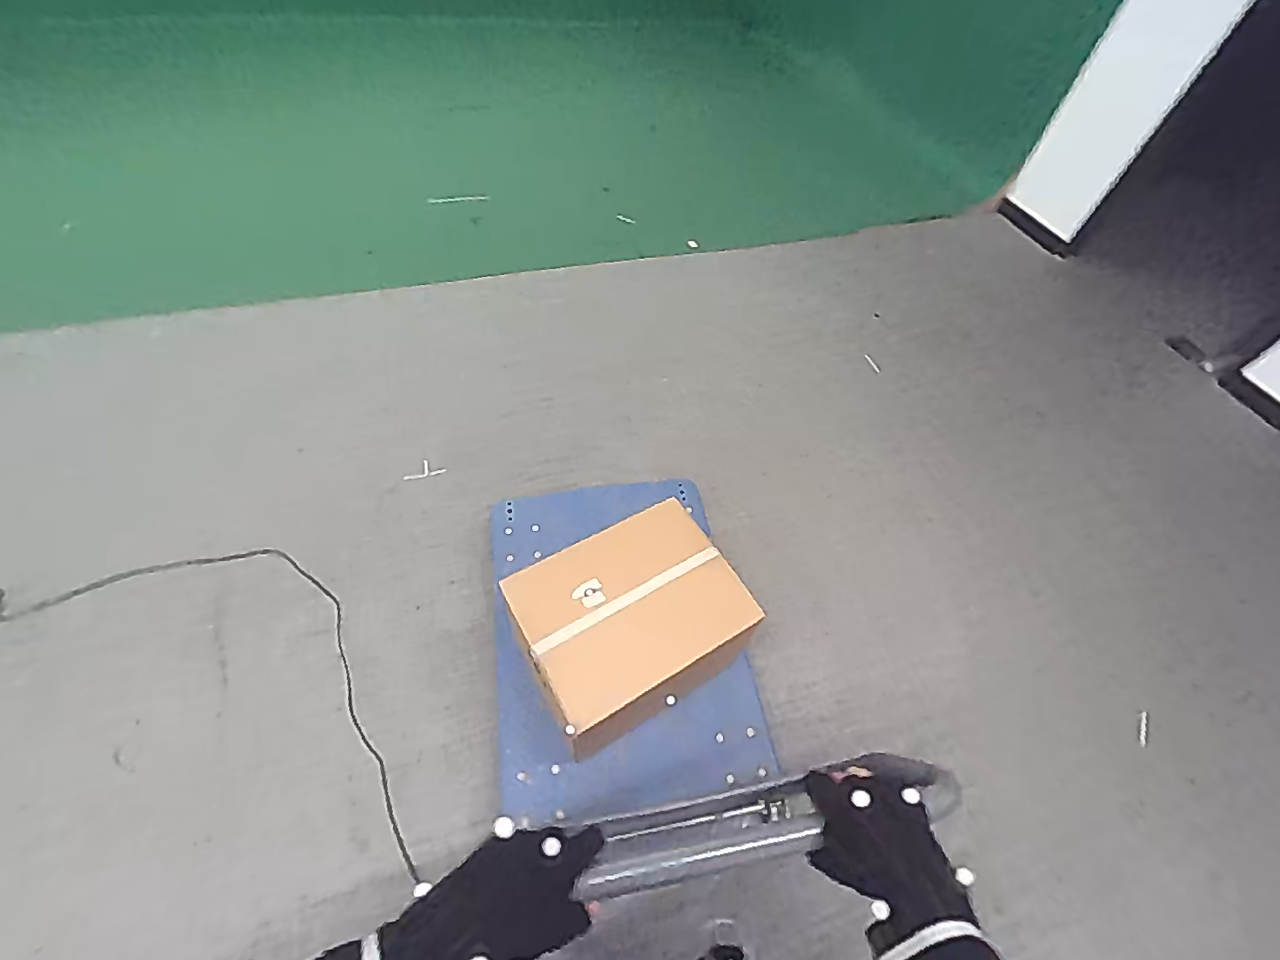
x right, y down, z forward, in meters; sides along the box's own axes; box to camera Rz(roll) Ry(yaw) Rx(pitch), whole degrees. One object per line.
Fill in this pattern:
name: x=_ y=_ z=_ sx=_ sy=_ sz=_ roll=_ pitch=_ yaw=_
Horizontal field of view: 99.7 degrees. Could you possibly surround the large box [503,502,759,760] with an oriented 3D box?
large box: x=-0.025 y=0.318 z=1.145 sx=0.408 sy=0.320 sz=0.320 roll=-25 pitch=60 yaw=-21
